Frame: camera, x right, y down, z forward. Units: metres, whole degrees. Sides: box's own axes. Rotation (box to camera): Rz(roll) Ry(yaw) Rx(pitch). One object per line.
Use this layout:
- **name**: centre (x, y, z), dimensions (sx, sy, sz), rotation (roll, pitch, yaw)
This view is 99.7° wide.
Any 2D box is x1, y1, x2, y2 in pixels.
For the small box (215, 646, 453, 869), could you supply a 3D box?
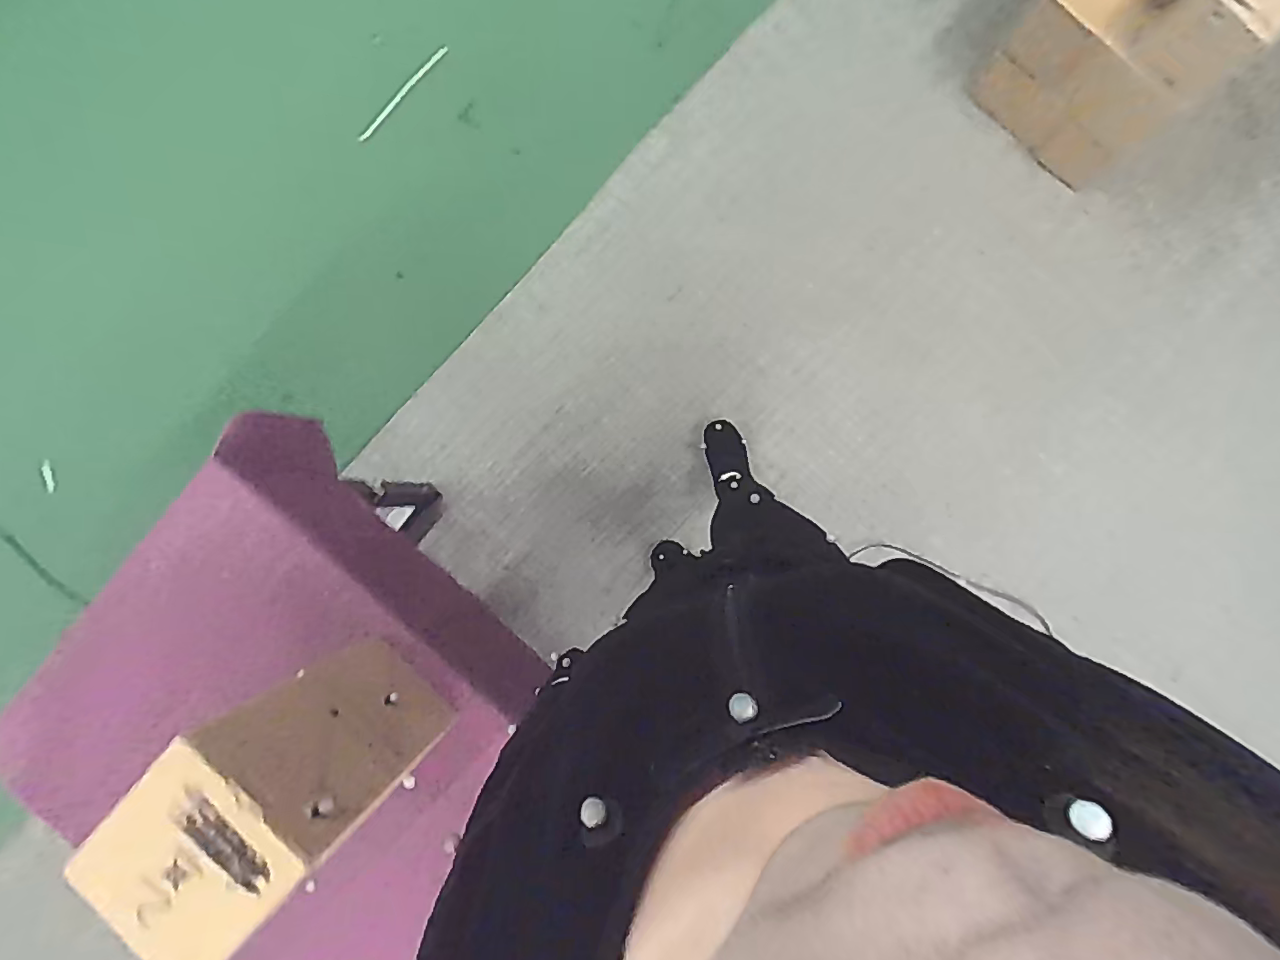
- **small box**: centre (-0.389, 0.345, 0.719), dimensions (0.179, 0.176, 0.168), rotation (42, 92, 4)

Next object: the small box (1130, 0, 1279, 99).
- **small box**: centre (1.149, -0.920, 1.071), dimensions (0.179, 0.176, 0.168), rotation (-42, 86, -1)
